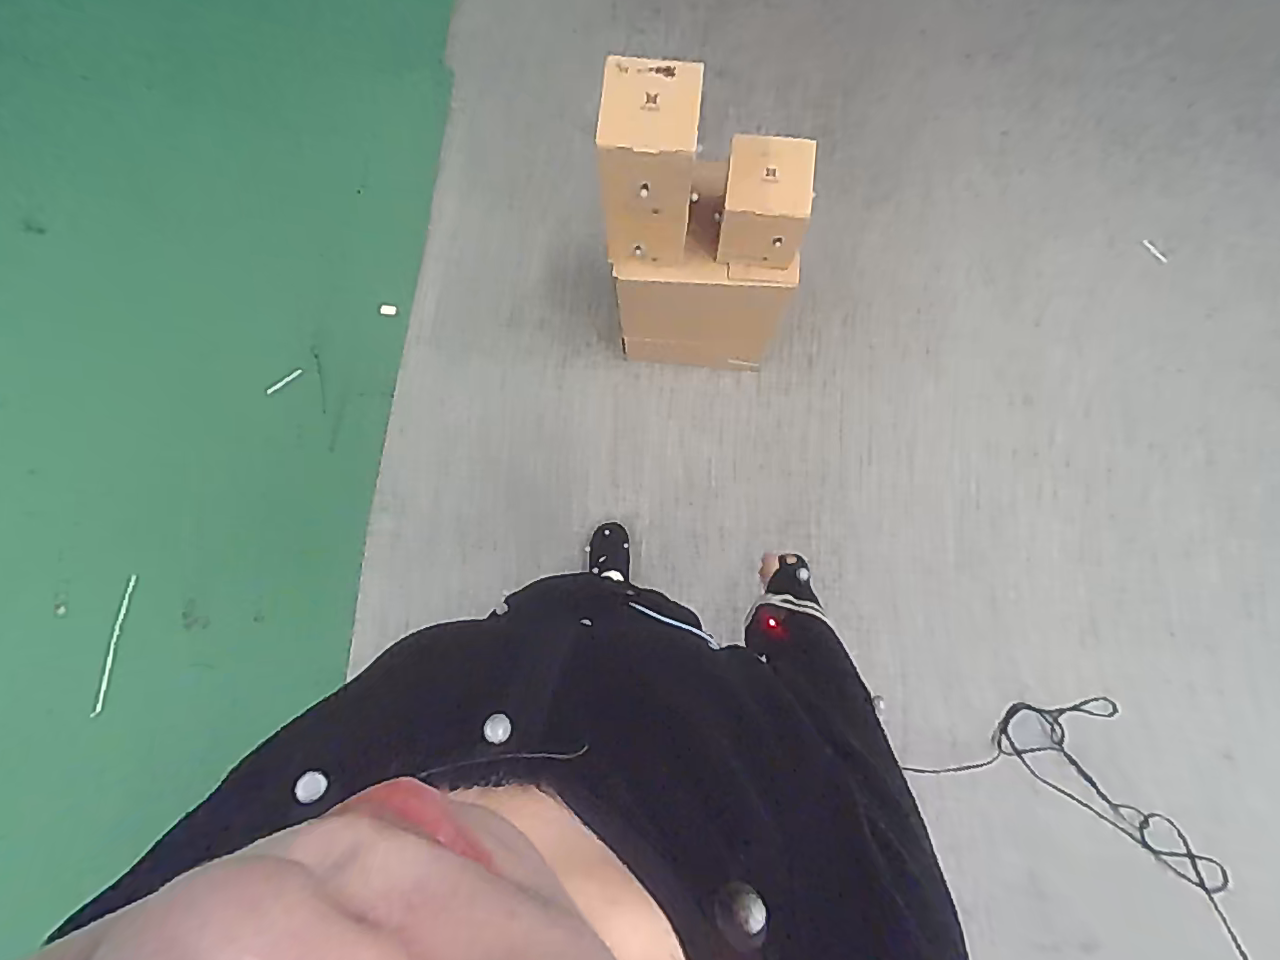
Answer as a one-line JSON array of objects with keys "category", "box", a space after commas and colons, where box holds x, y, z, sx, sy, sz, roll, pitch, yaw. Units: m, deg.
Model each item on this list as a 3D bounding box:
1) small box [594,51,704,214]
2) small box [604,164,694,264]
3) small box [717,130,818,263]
[{"category": "small box", "box": [0.017, -0.604, 0.958, 0.168, 0.176, 0.179, 6, 81, 1]}, {"category": "small box", "box": [0.018, -0.580, 1.121, 0.168, 0.176, 0.179, 5, 81, 0]}, {"category": "small box", "box": [0.255, -0.574, 1.114, 0.168, 0.176, 0.179, 8, 79, 3]}]
